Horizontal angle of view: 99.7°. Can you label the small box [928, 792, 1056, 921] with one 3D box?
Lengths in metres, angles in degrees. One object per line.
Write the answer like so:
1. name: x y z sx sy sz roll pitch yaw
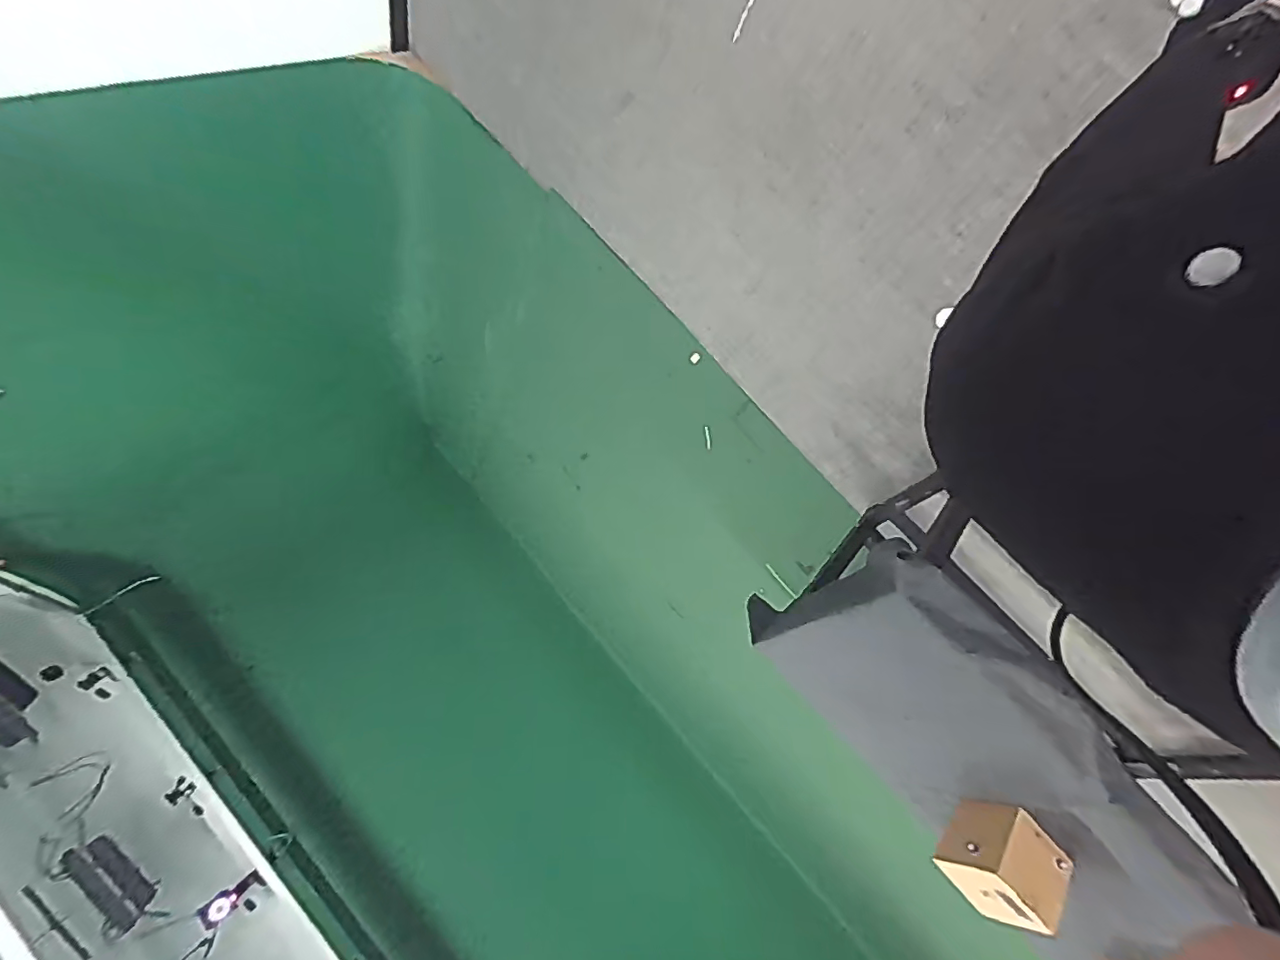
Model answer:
1. small box: 0.816 0.853 1.247 0.168 0.176 0.179 48 149 5
